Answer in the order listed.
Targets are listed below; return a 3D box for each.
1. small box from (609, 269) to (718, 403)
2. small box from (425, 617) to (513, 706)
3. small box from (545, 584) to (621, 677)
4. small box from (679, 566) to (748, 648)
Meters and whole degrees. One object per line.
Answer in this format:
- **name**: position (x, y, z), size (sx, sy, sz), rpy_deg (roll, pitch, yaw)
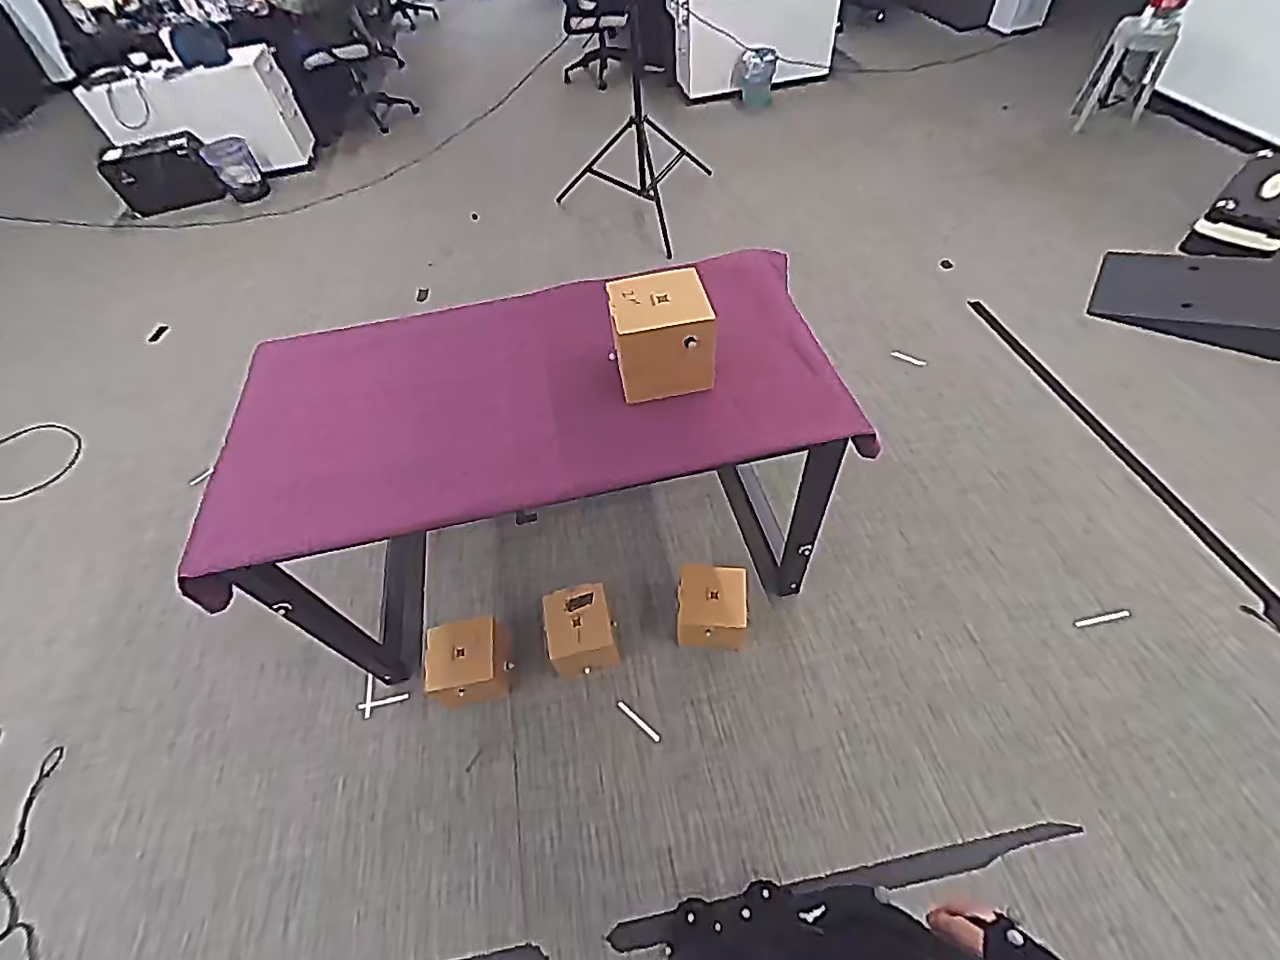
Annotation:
- **small box**: position (0.044, -0.272, 1.034), size (0.179, 0.176, 0.168), rpy_deg (-11, 52, -1)
- **small box**: position (-0.447, 0.487, 1.436), size (0.179, 0.176, 0.168), rpy_deg (-9, 54, -2)
- **small box**: position (-0.152, 0.409, 1.460), size (0.168, 0.176, 0.179), rpy_deg (-13, 54, -3)
- **small box**: position (0.200, 0.349, 1.469), size (0.179, 0.176, 0.168), rpy_deg (1, 54, 8)
